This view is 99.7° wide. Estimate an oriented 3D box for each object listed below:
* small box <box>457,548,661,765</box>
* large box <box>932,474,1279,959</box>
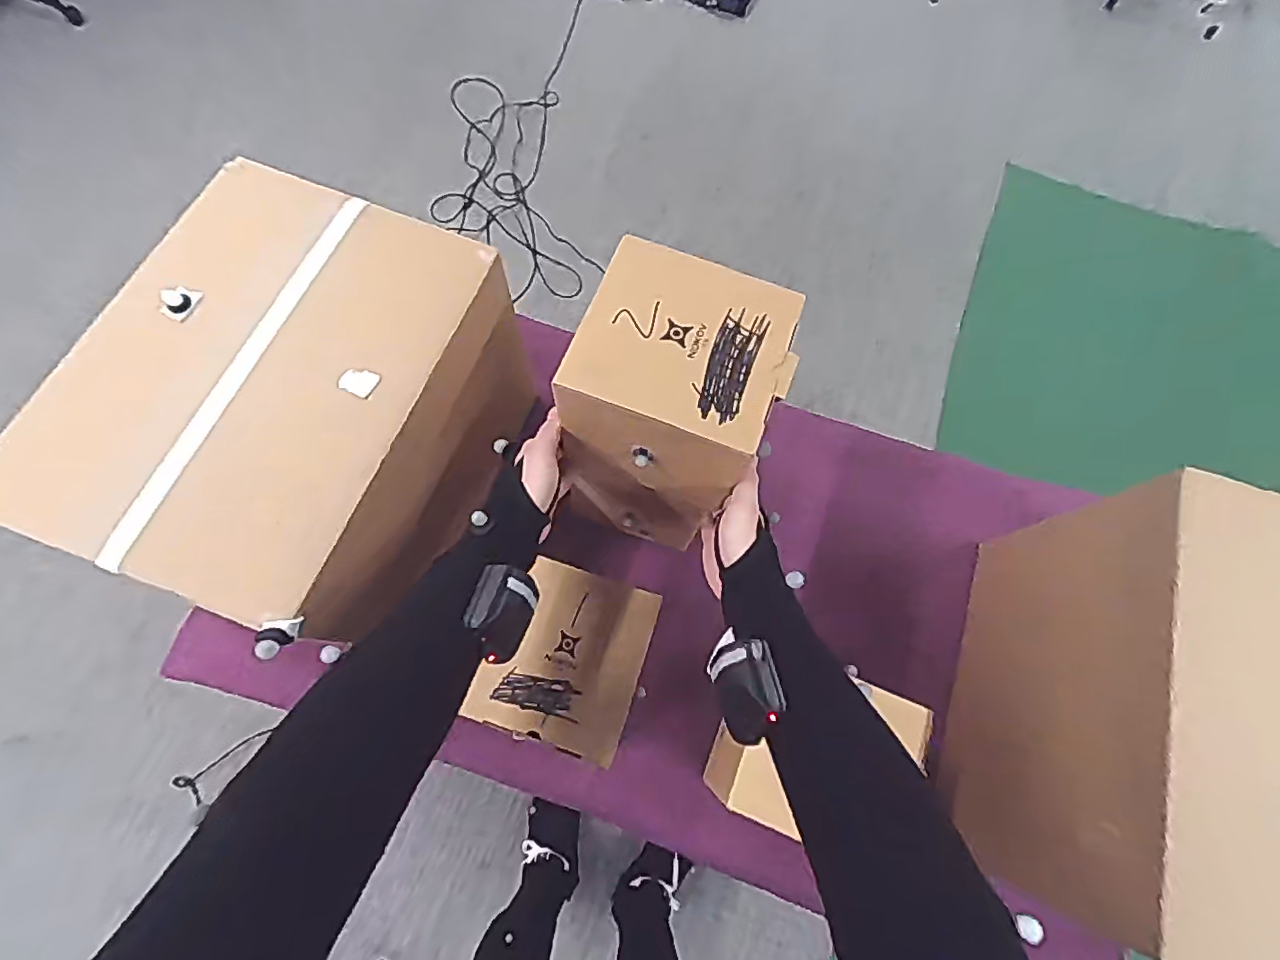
[{"bbox_3d":[-0.082,0.202,0.630,0.168,0.176,0.179,18,70,4],"label":"small box"},{"bbox_3d":[0.564,0.264,0.565,0.320,0.320,0.408,21,72,6],"label":"large box"}]
